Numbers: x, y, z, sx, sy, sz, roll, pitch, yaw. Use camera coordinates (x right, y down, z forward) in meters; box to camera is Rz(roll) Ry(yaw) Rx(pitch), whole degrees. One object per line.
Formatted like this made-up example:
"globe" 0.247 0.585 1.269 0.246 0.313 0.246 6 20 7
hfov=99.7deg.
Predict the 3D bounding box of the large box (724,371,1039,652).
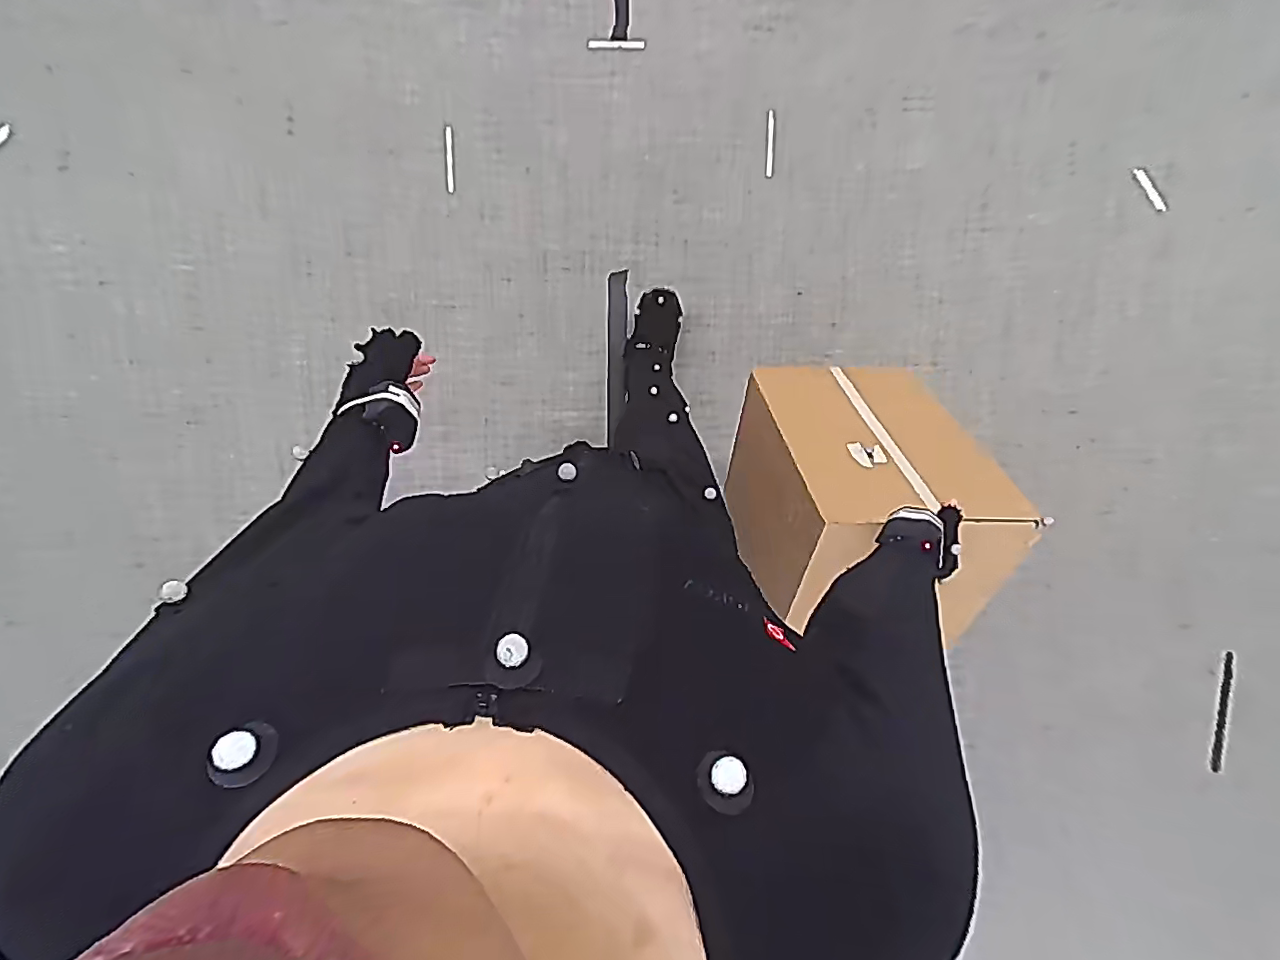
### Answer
"large box" 0.365 0.045 0.963 0.320 0.408 0.320 0 131 -7
